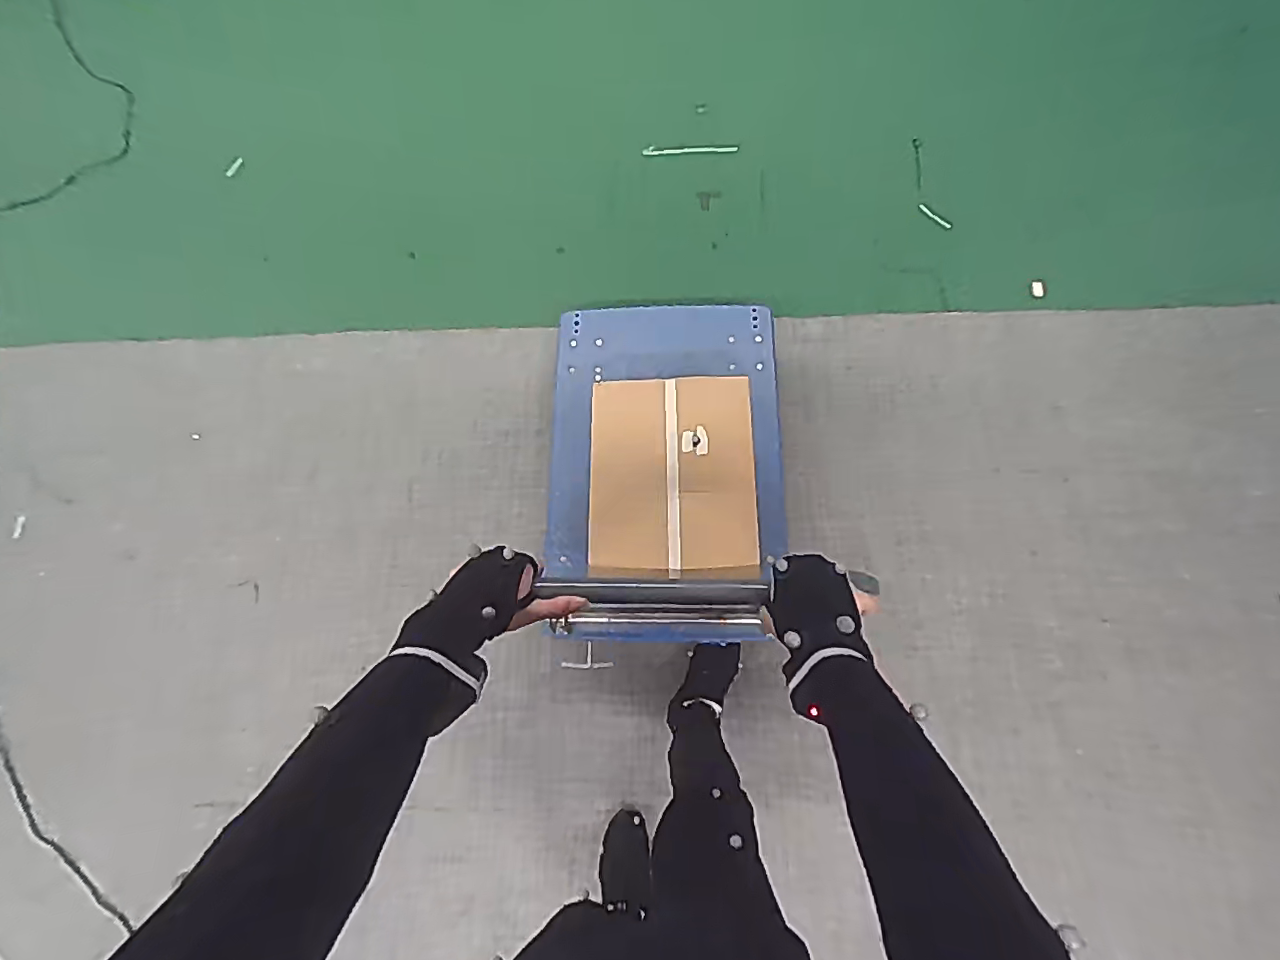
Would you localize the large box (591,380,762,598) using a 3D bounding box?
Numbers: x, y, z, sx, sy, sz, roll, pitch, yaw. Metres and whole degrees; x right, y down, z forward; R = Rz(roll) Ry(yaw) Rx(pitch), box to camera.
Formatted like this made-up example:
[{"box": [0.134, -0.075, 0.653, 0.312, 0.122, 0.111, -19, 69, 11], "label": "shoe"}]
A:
[{"box": [0.074, 0.038, 1.172, 0.320, 0.320, 0.408, -1, 73, 3], "label": "large box"}]
